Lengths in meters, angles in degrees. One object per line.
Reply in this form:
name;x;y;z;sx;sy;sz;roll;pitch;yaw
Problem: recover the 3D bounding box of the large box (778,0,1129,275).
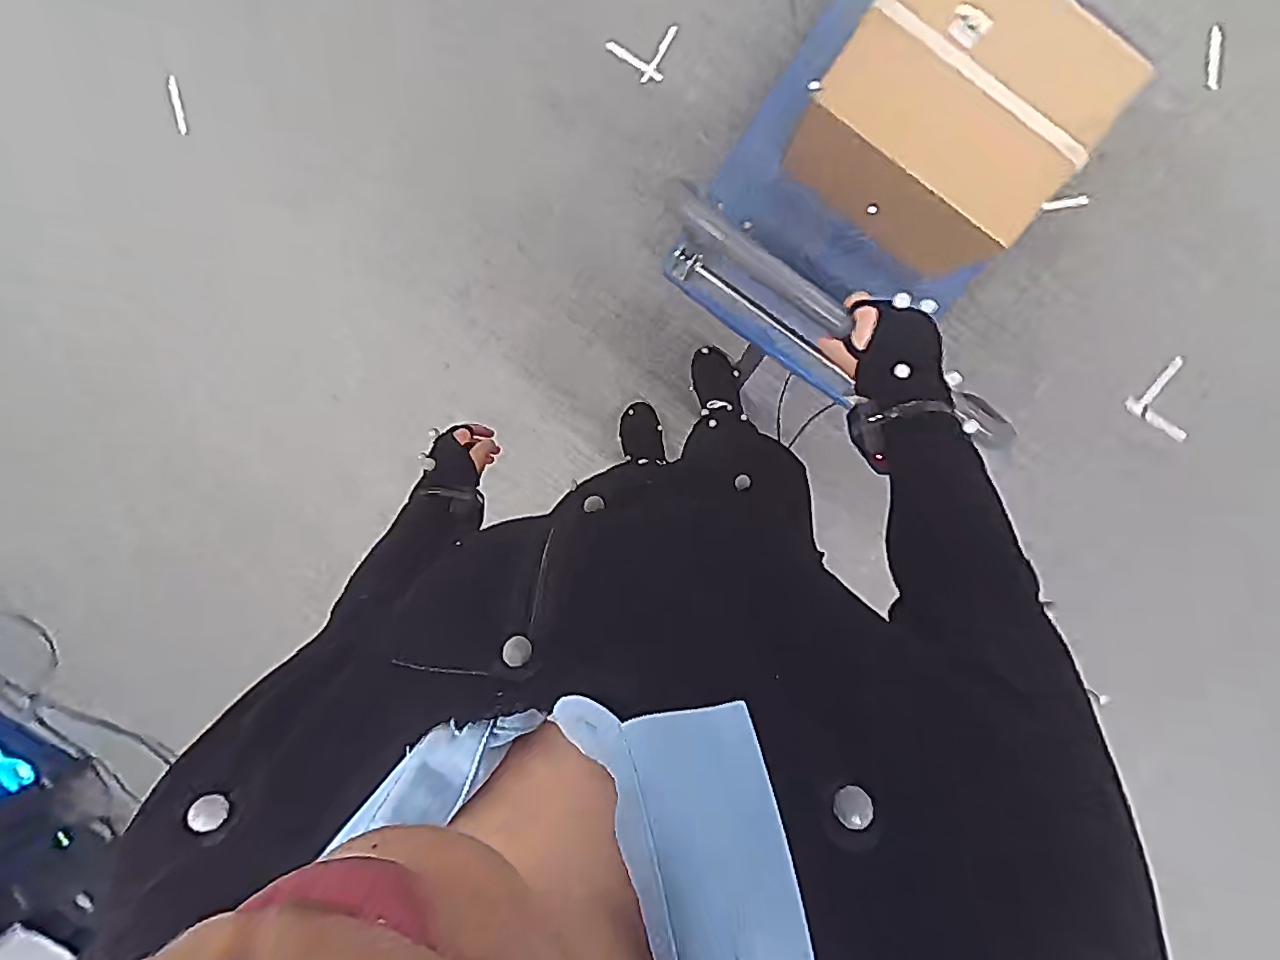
large box;0.526;-0.647;1.004;0.408;0.320;0.320;36;101;-1
